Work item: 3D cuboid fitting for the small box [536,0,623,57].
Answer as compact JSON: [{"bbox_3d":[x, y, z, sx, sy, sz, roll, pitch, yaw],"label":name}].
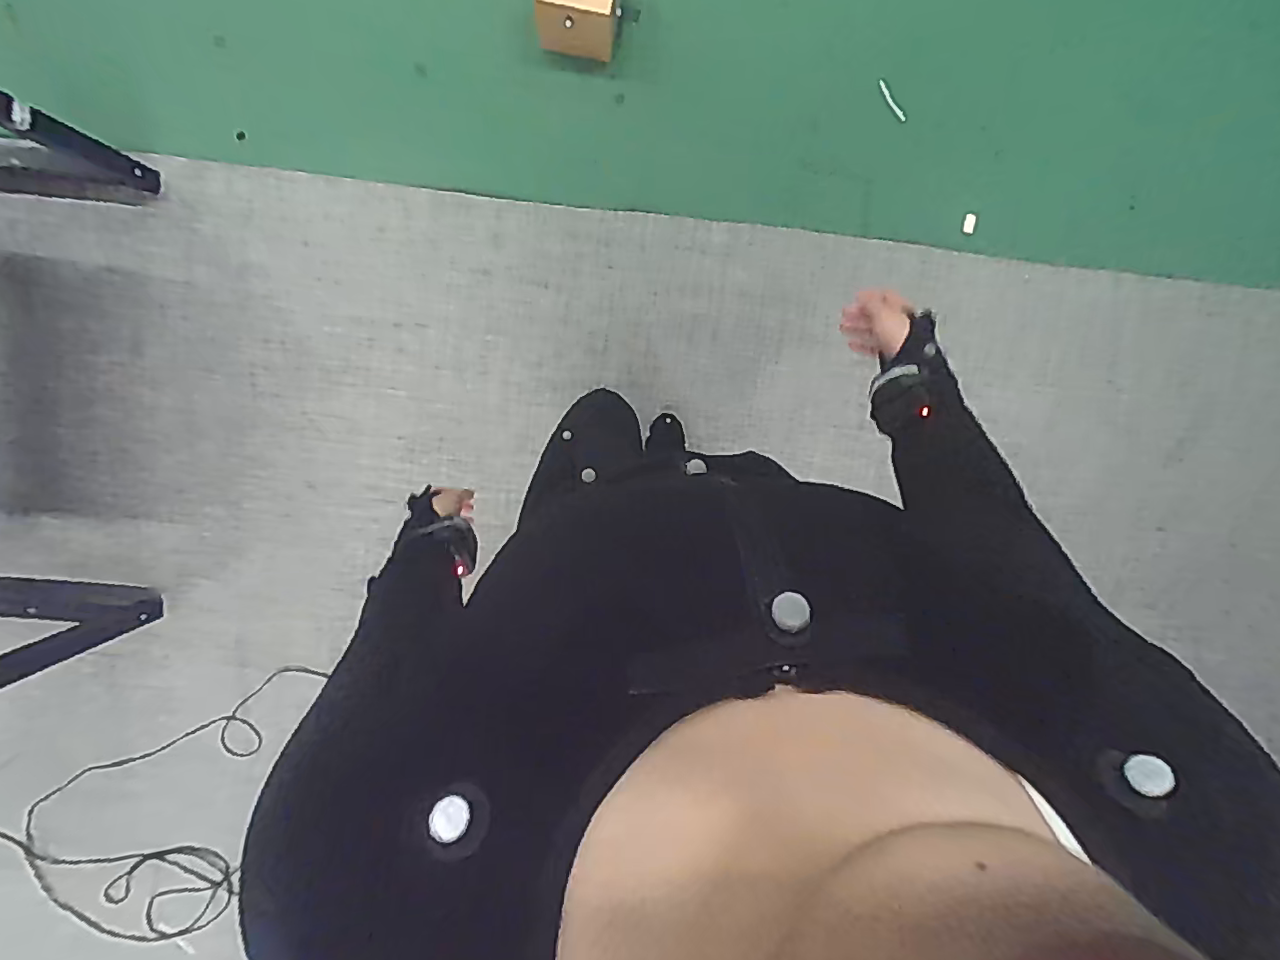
[{"bbox_3d":[-0.133,-1.133,1.260,0.179,0.176,0.168,10,97,-2],"label":"small box"}]
